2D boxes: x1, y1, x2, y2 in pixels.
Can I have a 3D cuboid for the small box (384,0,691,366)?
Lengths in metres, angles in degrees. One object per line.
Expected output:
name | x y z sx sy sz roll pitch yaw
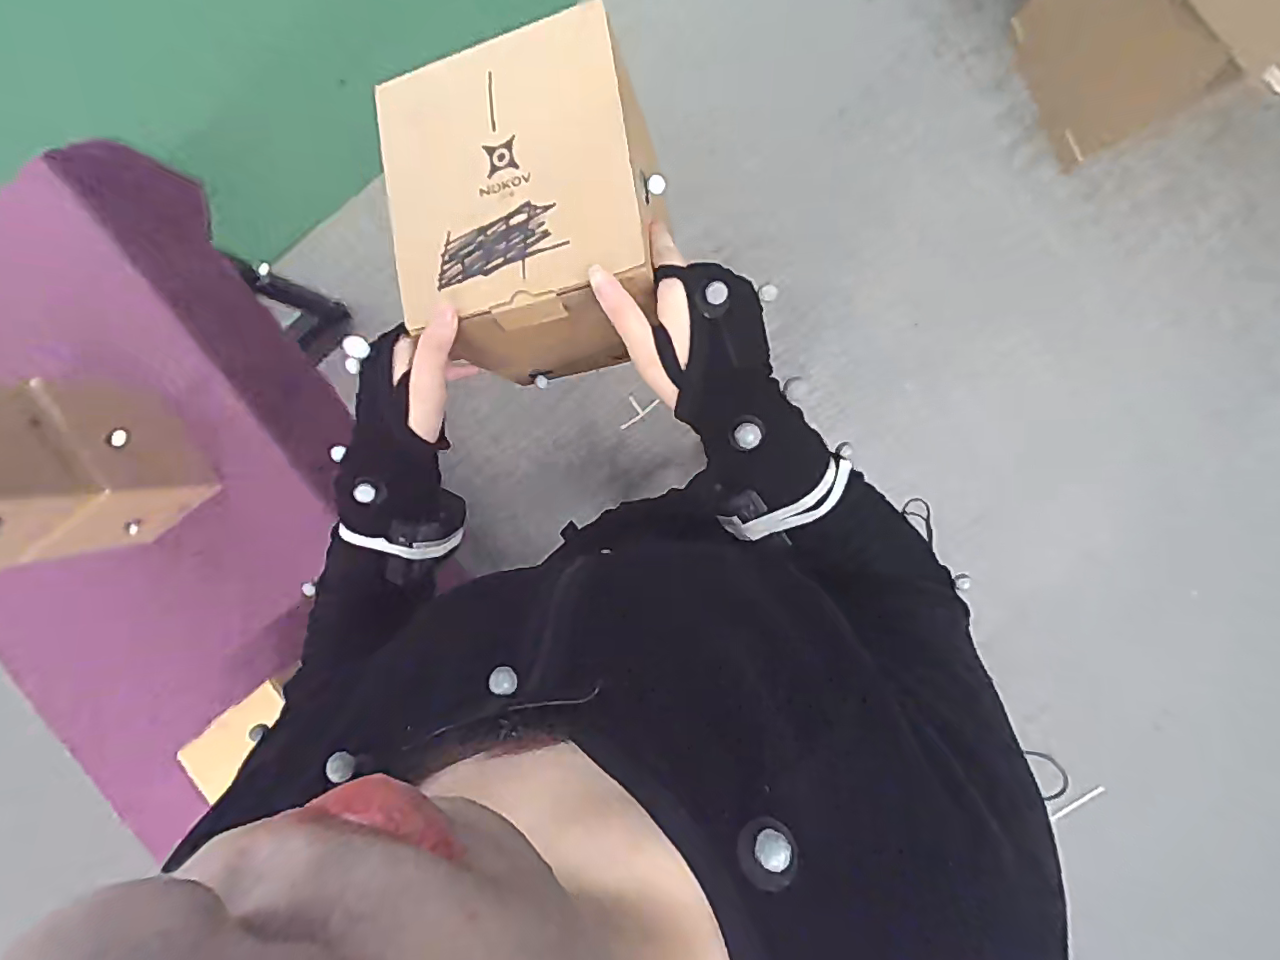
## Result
small box | -0.062 -0.195 0.413 0.168 0.176 0.179 -9 85 14
